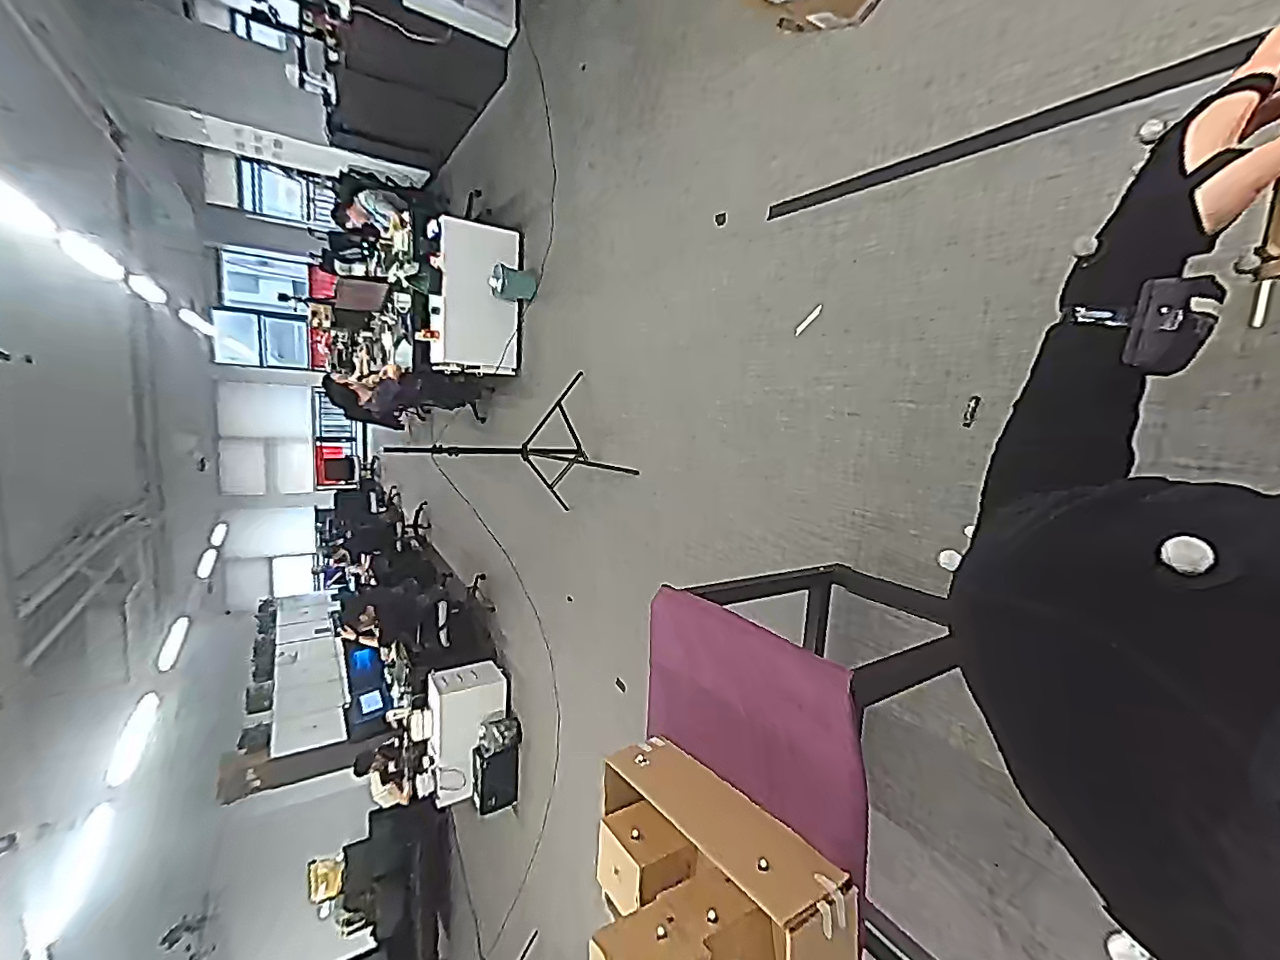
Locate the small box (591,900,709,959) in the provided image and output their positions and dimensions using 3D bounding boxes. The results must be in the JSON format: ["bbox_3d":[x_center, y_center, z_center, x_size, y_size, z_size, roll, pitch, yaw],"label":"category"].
[{"bbox_3d":[0.022,0.939,0.995,0.168,0.176,0.179,-5,87,59],"label":"small box"}]
